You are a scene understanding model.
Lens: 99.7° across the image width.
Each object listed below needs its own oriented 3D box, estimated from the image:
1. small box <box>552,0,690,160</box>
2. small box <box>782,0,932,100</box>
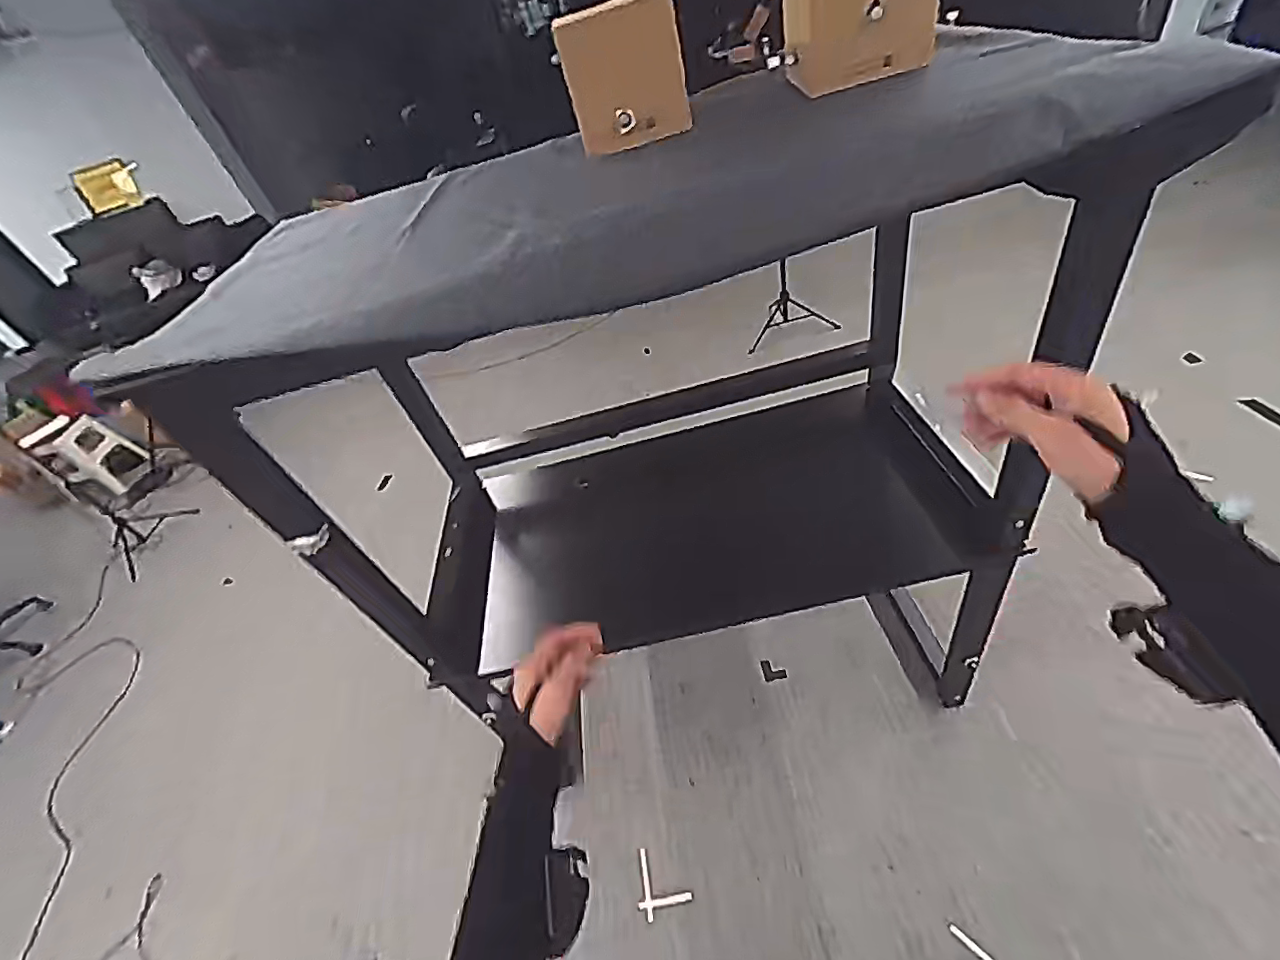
[{"bbox_3d":[-0.028,-0.615,0.828,0.168,0.176,0.179,-15,43,5],"label":"small box"},{"bbox_3d":[0.301,-0.665,0.762,0.168,0.176,0.179,-10,45,9],"label":"small box"}]
